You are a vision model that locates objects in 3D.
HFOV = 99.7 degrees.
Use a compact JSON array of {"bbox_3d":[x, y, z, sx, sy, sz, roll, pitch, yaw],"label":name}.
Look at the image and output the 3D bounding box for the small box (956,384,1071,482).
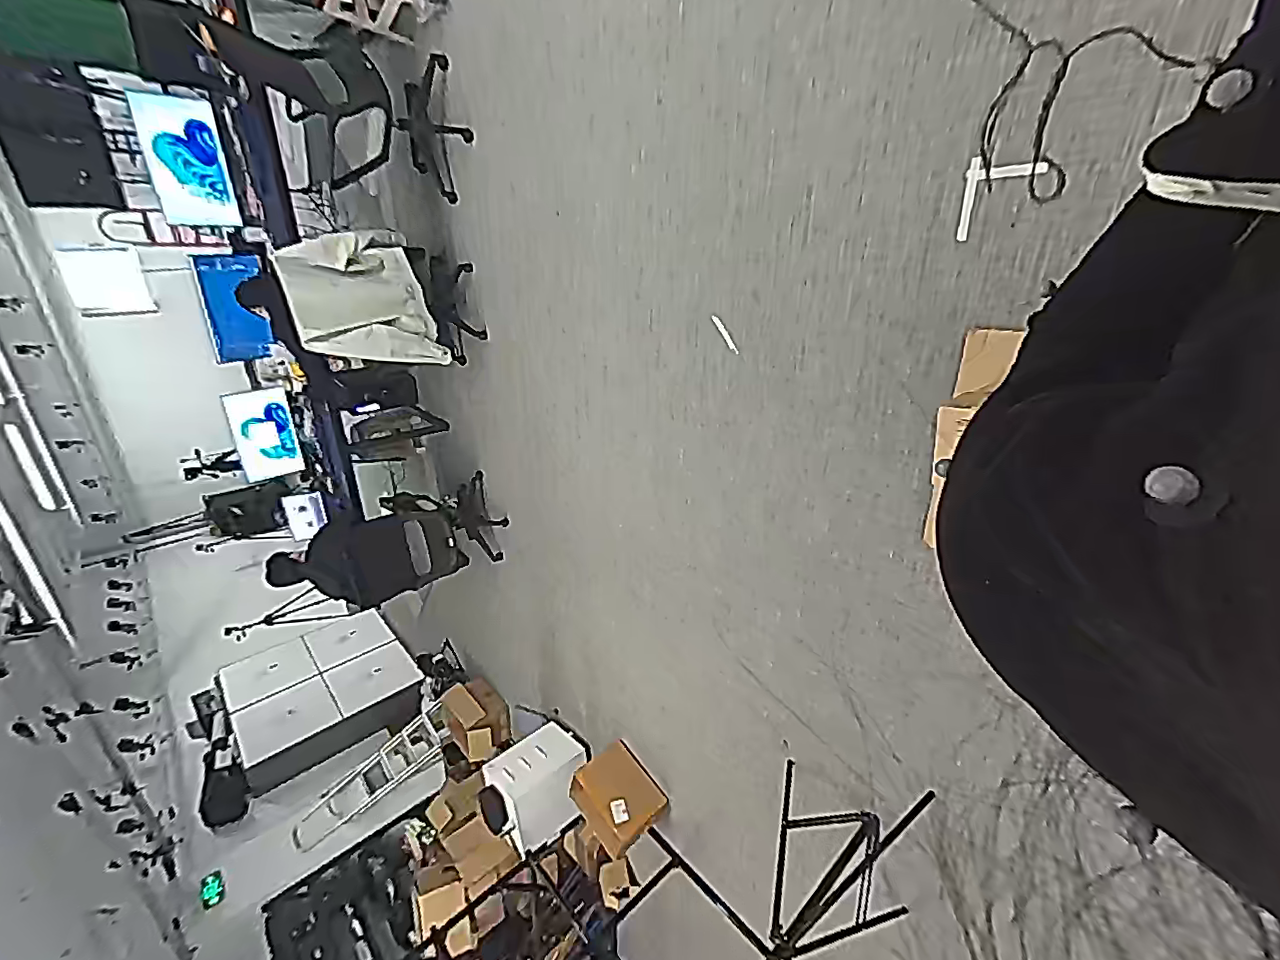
[{"bbox_3d":[0.846,-0.116,1.223,0.168,0.176,0.179,18,119,45],"label":"small box"}]
